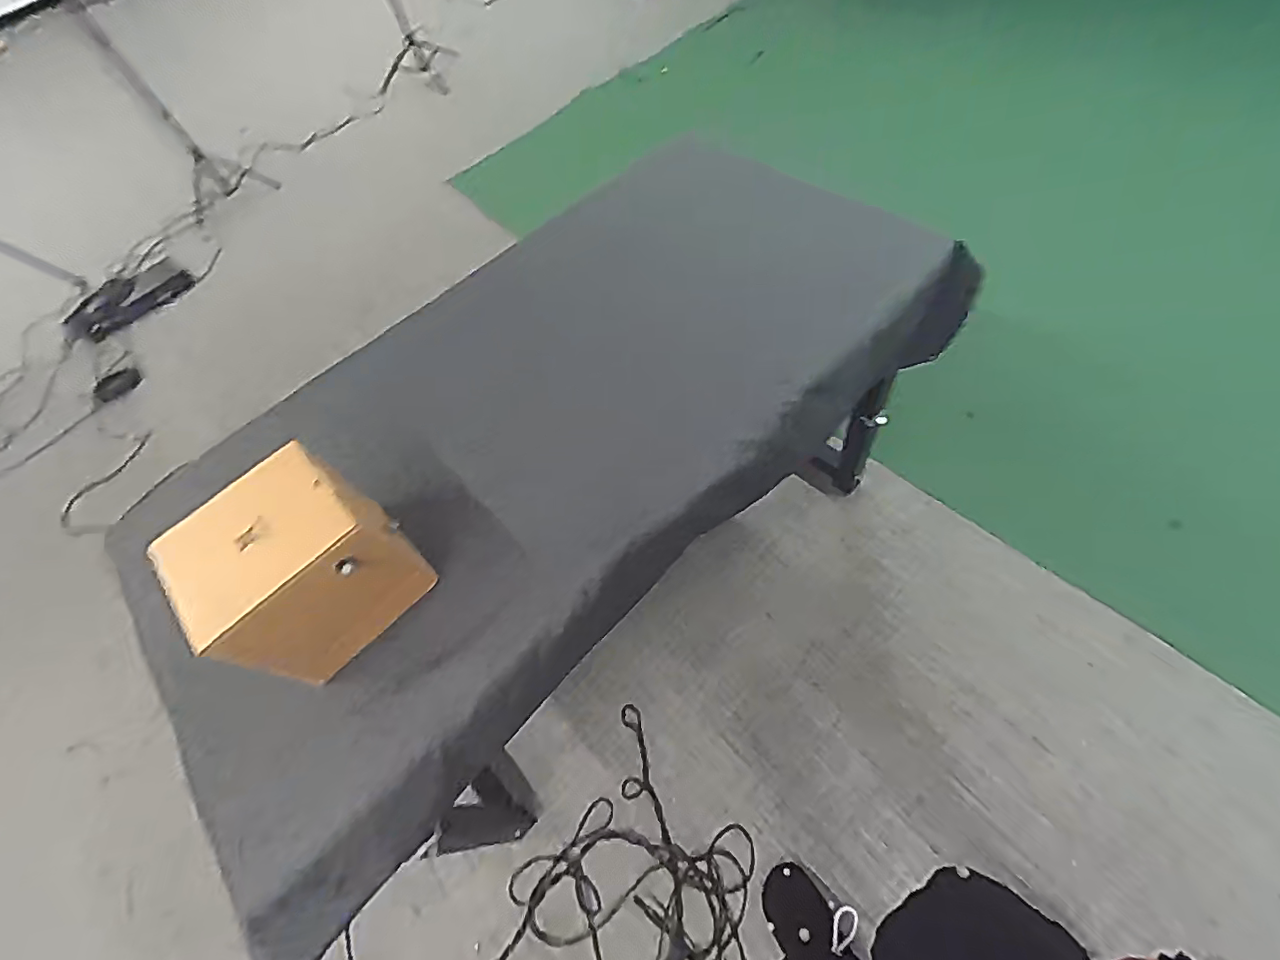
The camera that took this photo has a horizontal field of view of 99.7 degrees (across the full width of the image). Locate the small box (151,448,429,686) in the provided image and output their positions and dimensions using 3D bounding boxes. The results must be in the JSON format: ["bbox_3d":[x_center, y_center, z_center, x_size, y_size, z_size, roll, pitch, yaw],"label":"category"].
[{"bbox_3d":[-0.381,0.104,0.614,0.168,0.176,0.179,37,72,28],"label":"small box"}]
